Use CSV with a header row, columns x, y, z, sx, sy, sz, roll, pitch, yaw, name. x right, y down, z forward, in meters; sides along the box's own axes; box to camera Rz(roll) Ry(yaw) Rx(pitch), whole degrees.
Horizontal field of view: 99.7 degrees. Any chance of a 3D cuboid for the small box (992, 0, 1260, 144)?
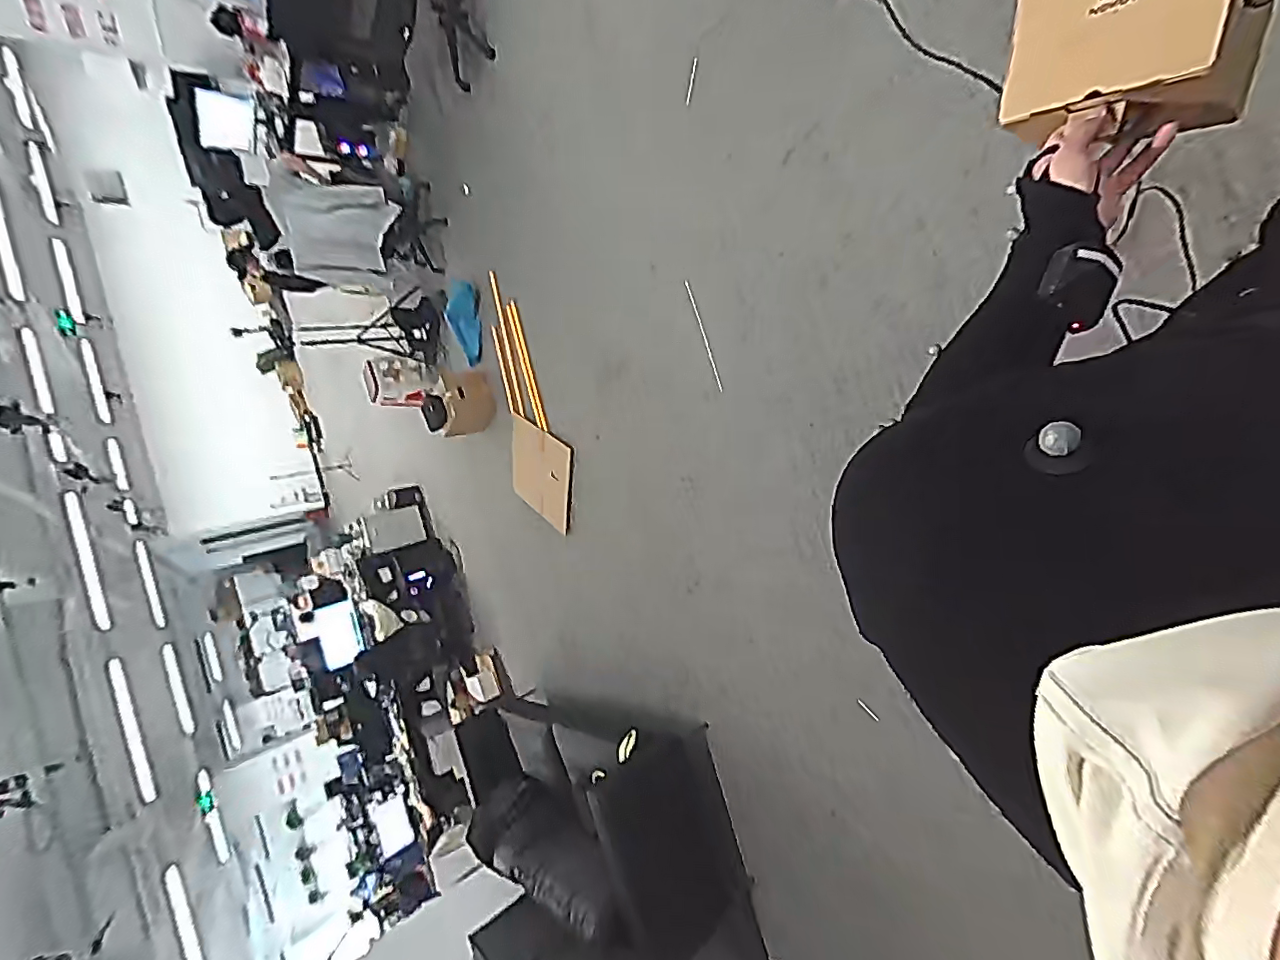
x,y,z,sx,sy,sz,roll,pitch,yaw,name
0.495,-0.462,0.548,0.168,0.176,0.179,20,115,50,small box
